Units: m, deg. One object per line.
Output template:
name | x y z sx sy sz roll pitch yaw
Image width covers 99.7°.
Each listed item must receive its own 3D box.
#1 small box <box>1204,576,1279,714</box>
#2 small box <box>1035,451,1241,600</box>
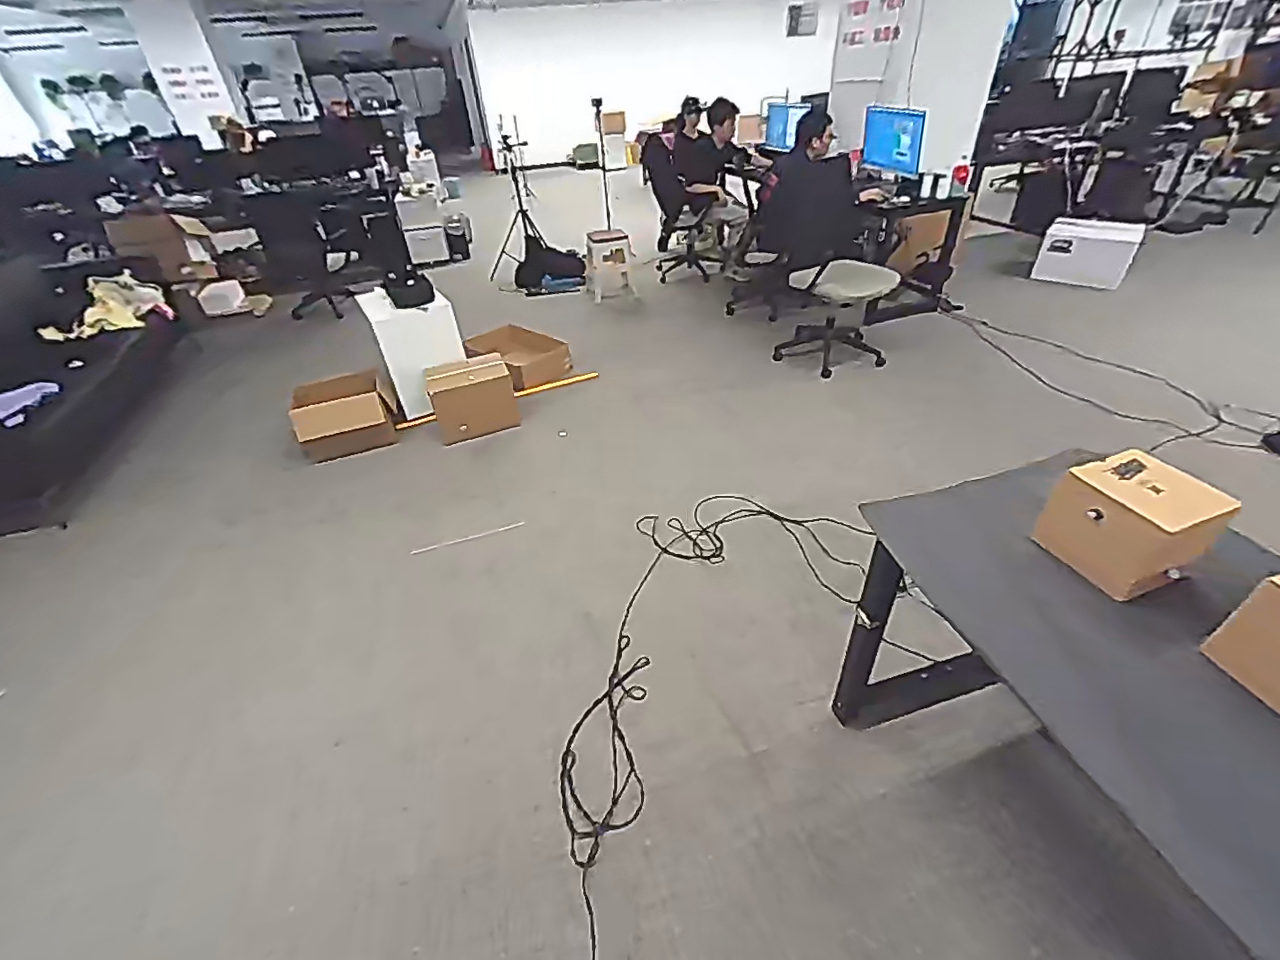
small box | 0.952 0.234 0.728 0.168 0.176 0.179 -11 38 -9
small box | 0.849 0.077 0.946 0.168 0.176 0.179 -15 39 -13
